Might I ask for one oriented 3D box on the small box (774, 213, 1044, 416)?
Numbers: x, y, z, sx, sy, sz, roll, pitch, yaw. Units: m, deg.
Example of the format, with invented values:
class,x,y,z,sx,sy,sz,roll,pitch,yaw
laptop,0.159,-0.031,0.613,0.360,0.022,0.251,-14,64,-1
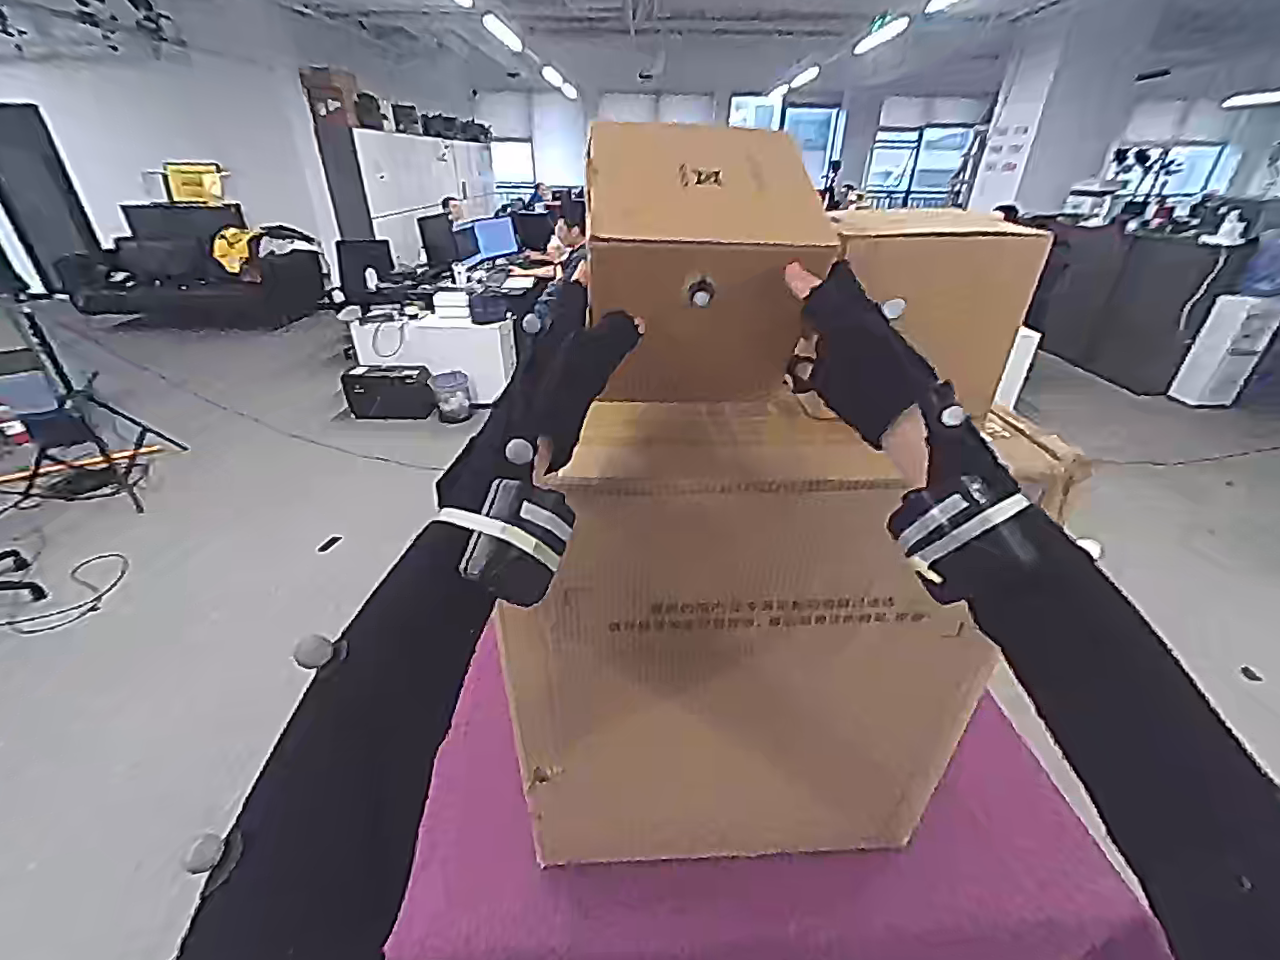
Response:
class,x,y,z,sx,sy,sz,roll,pitch,yaw
small box,0.251,-0.172,0.560,0.179,0.176,0.168,-1,31,-2
